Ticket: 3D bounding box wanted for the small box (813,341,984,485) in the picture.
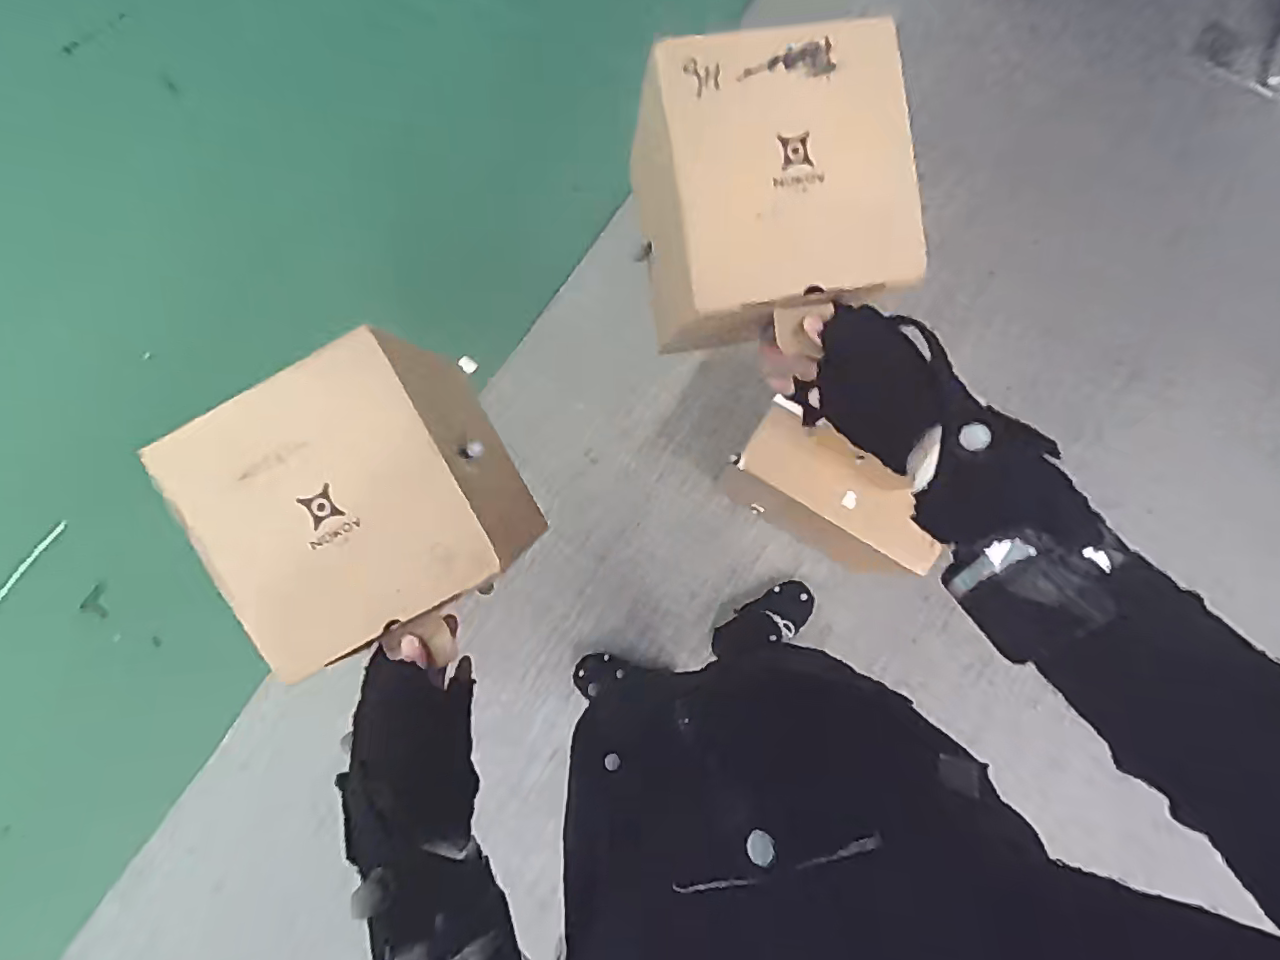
[{"bbox_3d":[0.436,-0.104,0.942,0.179,0.176,0.168,40,87,6],"label":"small box"}]
